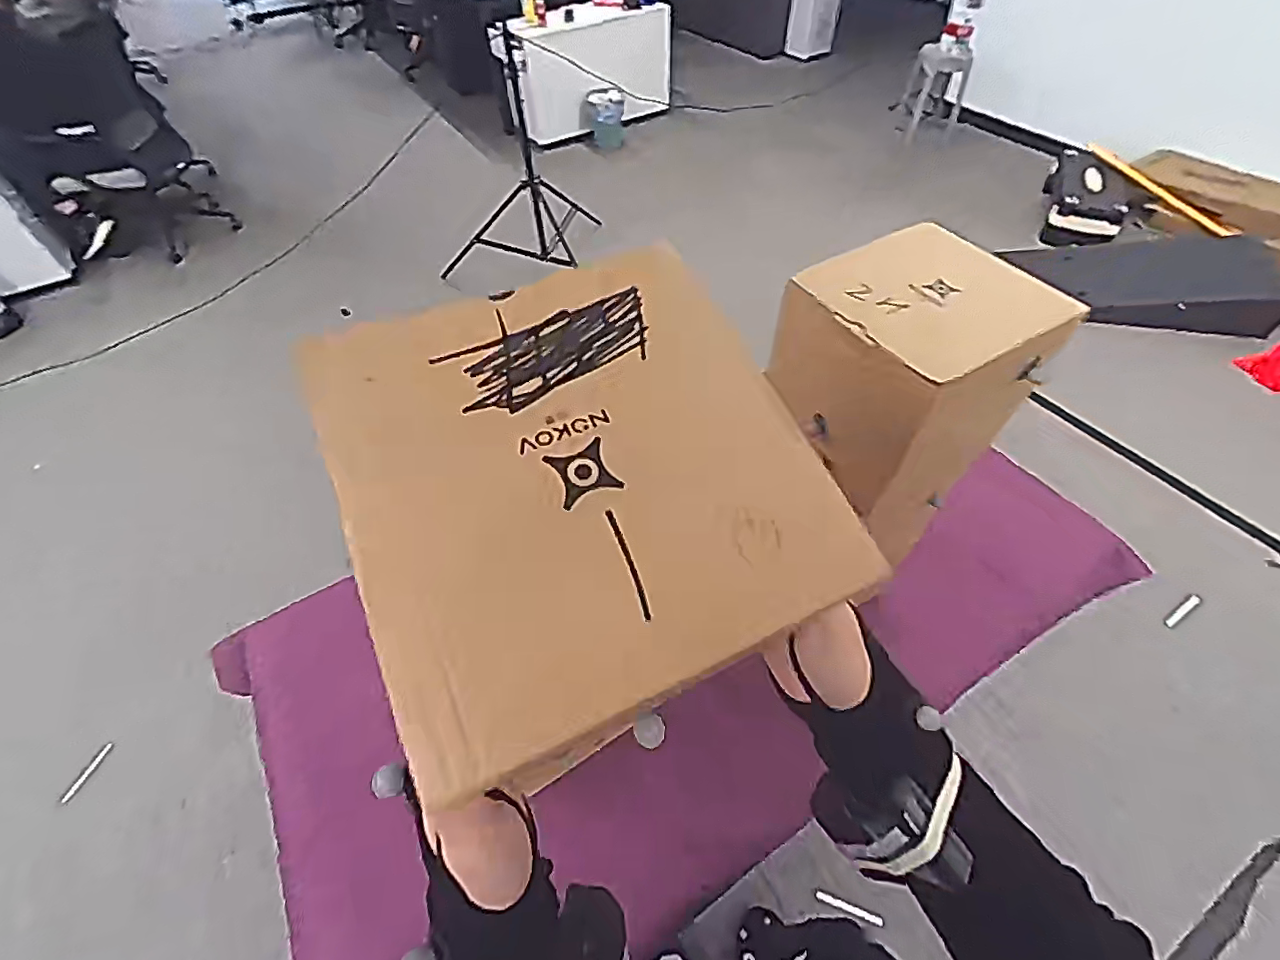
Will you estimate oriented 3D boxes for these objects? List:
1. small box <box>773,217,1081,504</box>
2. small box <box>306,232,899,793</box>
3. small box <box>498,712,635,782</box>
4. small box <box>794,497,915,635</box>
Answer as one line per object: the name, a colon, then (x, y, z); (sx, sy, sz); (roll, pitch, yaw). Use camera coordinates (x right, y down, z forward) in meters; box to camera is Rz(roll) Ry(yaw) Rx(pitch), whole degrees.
small box: (0.240, -0.110, 0.510); (0.179, 0.176, 0.168); (-26, 56, -16)
small box: (-0.026, 0.021, 0.266); (0.168, 0.176, 0.179); (-21, 70, -13)
small box: (-0.117, 0.246, 0.671); (0.168, 0.176, 0.179); (-28, 56, -18)
small box: (0.242, 0.091, 0.771); (0.179, 0.176, 0.168); (-25, 56, -17)
